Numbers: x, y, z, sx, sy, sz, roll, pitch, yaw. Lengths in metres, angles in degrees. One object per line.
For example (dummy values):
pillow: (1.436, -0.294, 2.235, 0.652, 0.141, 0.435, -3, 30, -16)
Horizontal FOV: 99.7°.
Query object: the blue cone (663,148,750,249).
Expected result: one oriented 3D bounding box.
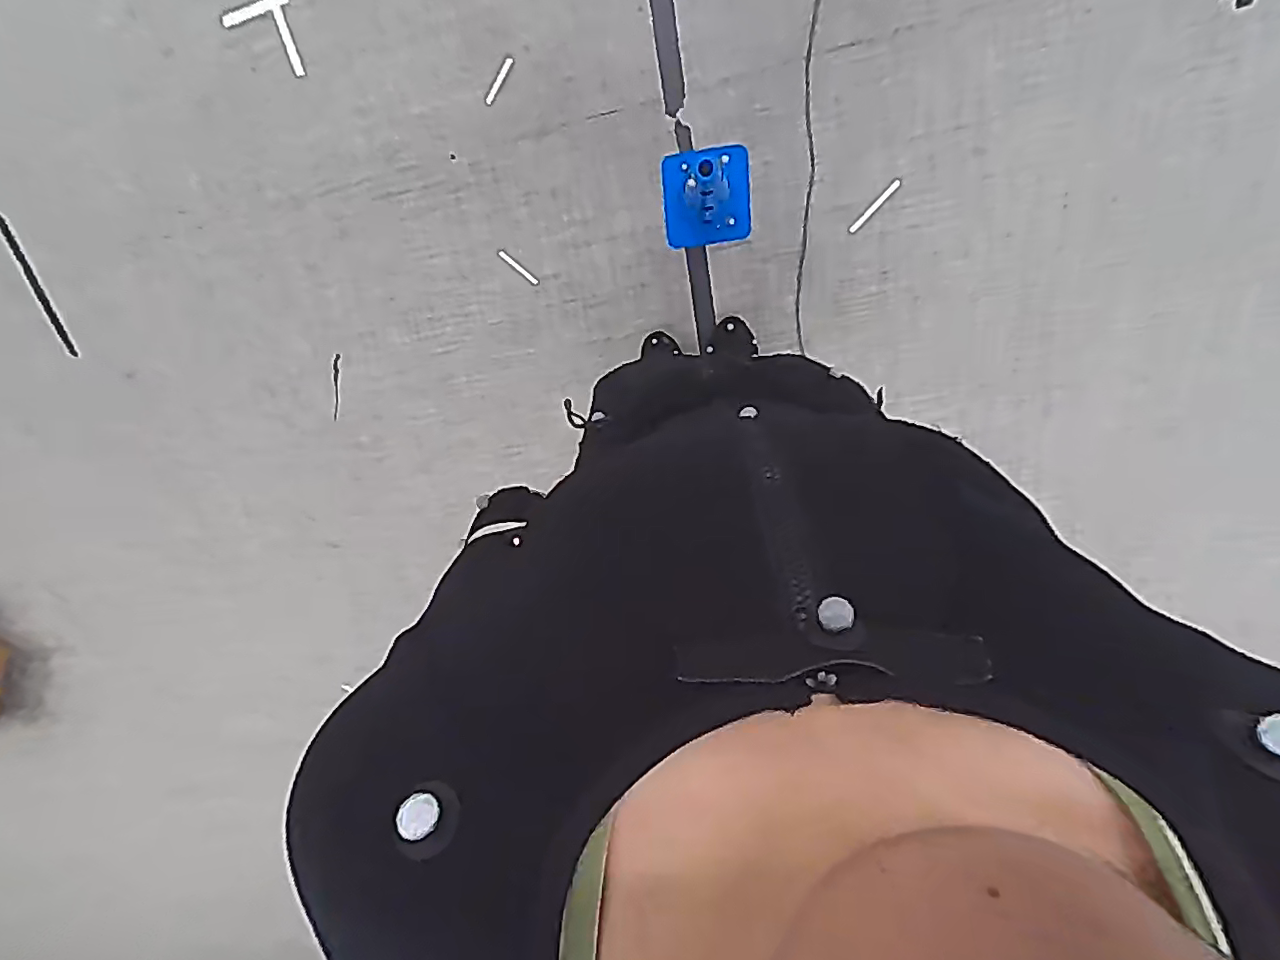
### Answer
blue cone: (0.135, -0.593, 1.091, 0.193, 0.380, 0.192, -6, 109, 8)
